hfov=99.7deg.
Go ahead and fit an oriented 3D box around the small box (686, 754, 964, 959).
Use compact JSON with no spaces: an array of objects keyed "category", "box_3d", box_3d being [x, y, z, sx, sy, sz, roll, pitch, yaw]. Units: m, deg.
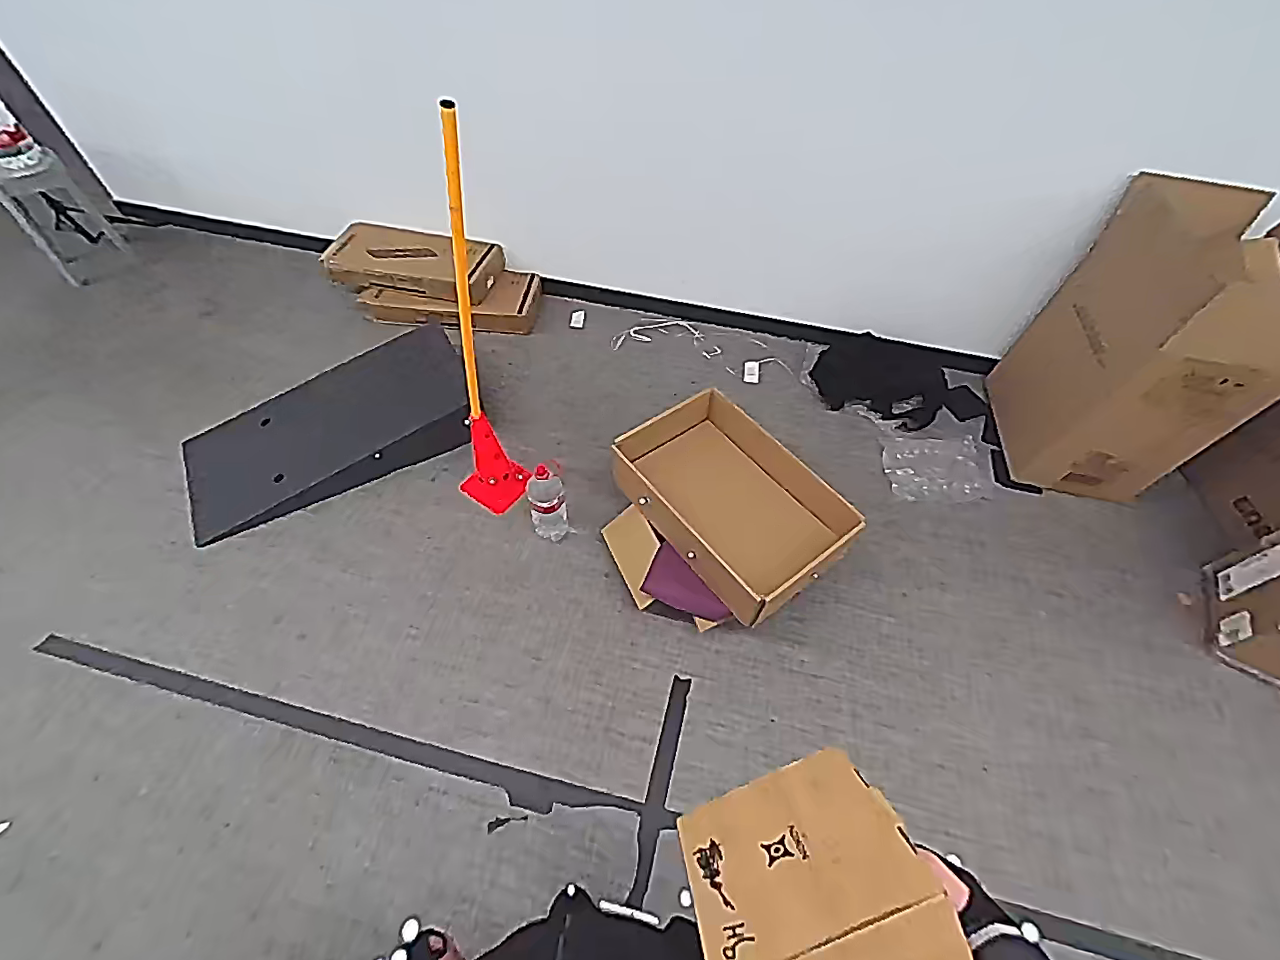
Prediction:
[{"category":"small box","box_3d":[0.159,0.388,0.467,0.179,0.168,0.176,-22,97,-2]}]
